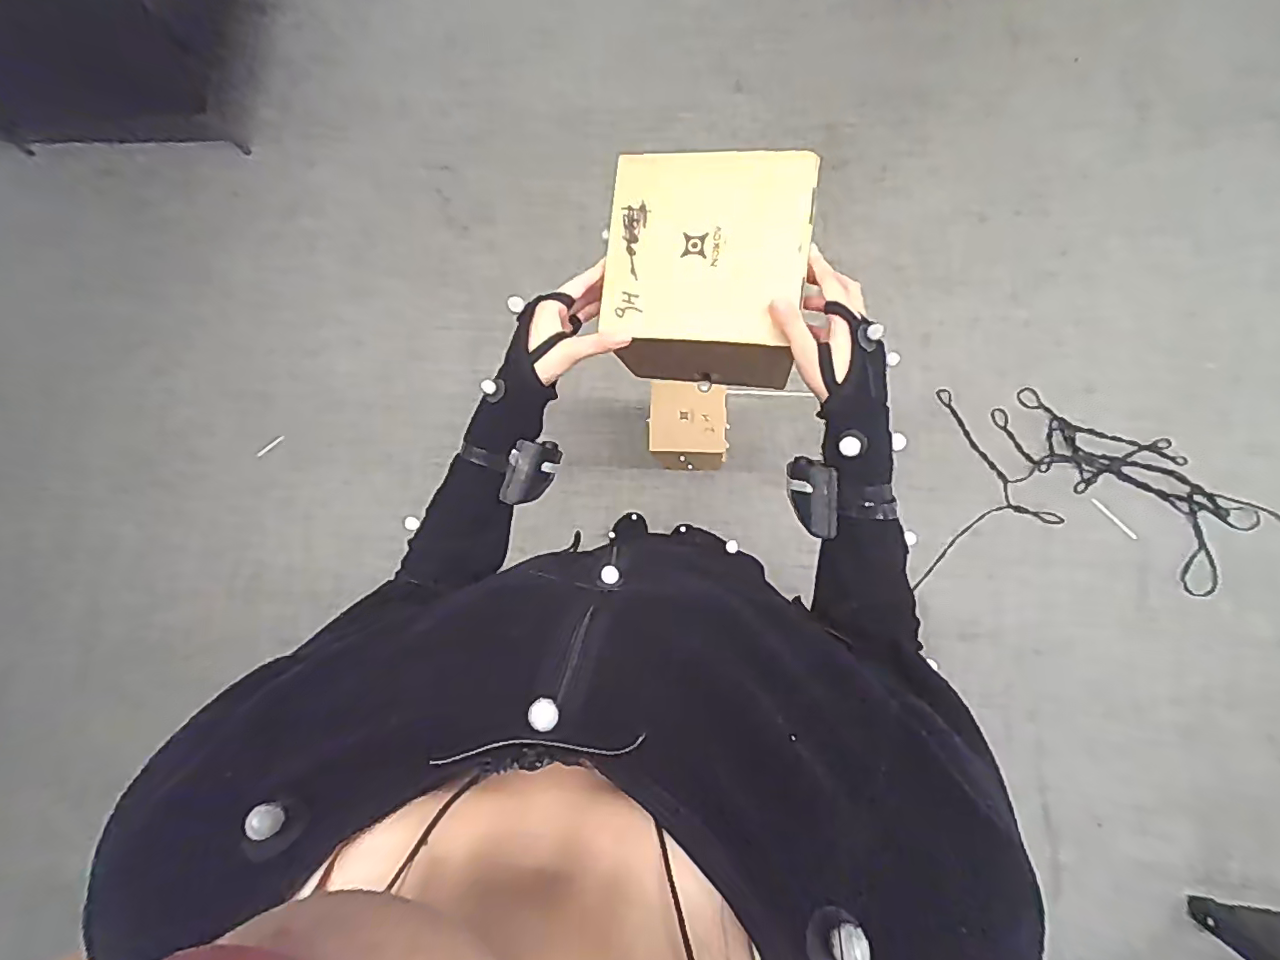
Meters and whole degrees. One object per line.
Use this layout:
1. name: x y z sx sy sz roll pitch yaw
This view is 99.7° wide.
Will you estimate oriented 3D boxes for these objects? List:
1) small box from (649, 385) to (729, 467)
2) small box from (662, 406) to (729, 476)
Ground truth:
1. small box: 0.120 -0.124 1.299 0.179 0.176 0.168 2 84 6
2. small box: 0.147 -0.104 1.460 0.179 0.176 0.168 2 84 6
